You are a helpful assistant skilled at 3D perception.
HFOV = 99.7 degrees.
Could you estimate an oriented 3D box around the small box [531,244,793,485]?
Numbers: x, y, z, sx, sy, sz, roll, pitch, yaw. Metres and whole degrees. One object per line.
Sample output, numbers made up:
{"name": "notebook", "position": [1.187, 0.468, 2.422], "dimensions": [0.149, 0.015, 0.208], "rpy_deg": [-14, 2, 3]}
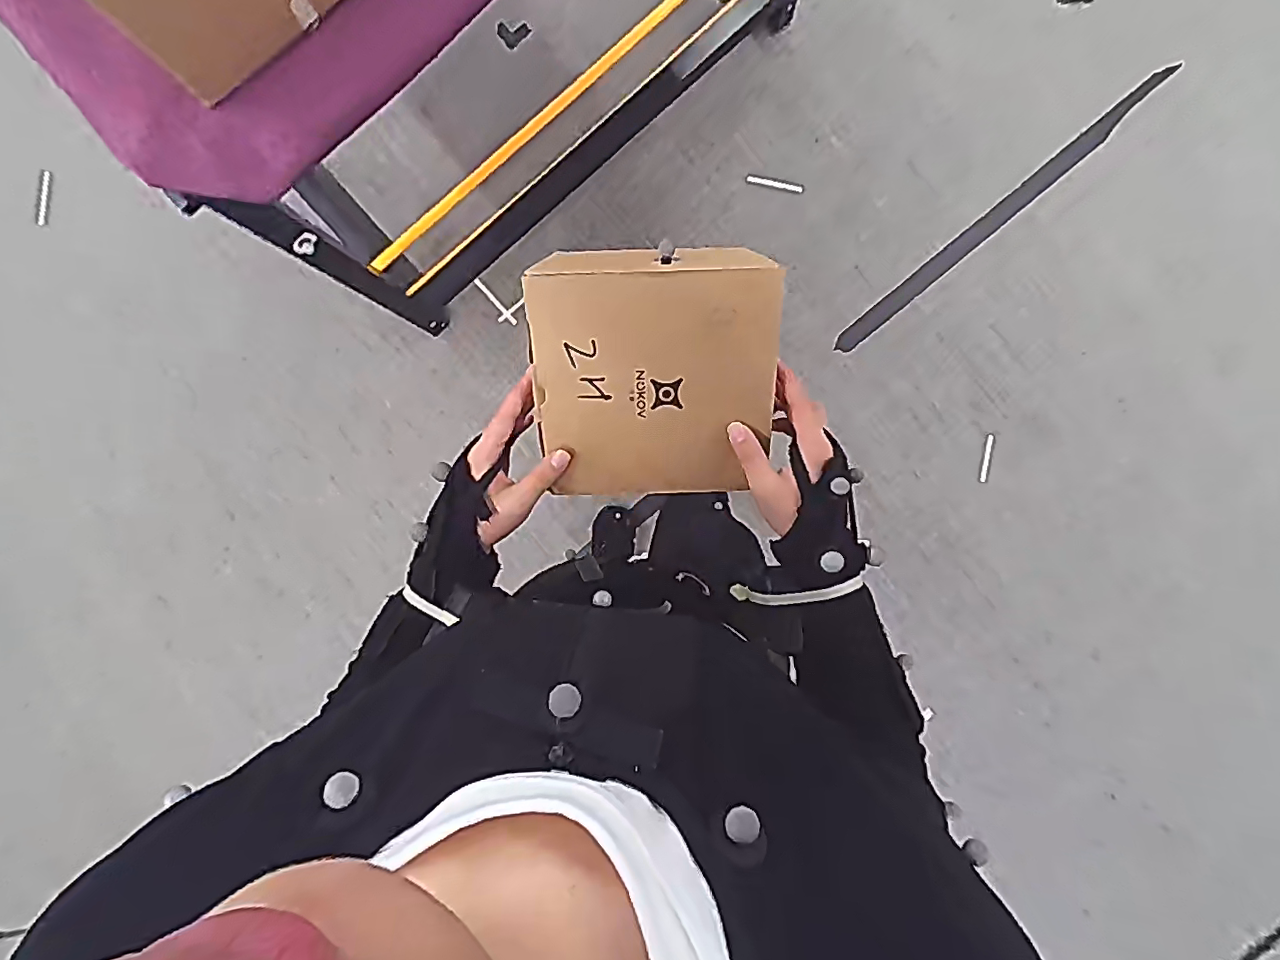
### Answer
{"name": "small box", "position": [0.015, -0.106, 0.460], "dimensions": [0.179, 0.176, 0.168], "rpy_deg": [-1, 117, 1]}
